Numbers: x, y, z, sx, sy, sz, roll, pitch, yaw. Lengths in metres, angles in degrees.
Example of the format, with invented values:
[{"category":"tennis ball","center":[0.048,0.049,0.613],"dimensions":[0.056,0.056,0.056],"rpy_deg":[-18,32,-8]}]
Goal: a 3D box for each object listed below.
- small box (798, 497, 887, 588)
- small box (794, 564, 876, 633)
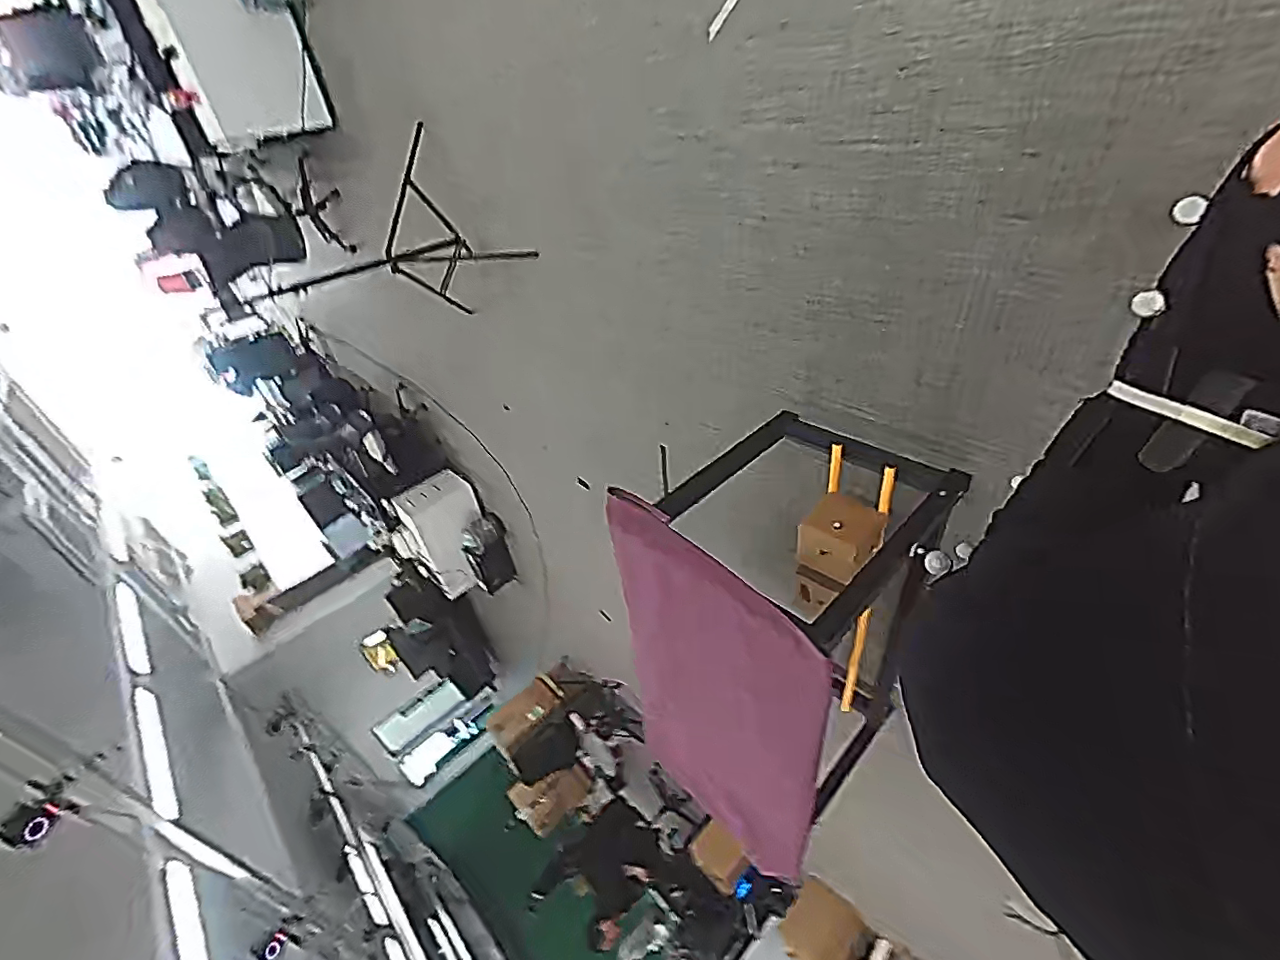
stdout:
[{"category":"small box","center":[0.582,0.172,1.563],"dimensions":[0.179,0.176,0.168],"rpy_deg":[27,140,38]},{"category":"small box","center":[0.607,0.333,1.691],"dimensions":[0.179,0.176,0.168],"rpy_deg":[26,140,37]}]
